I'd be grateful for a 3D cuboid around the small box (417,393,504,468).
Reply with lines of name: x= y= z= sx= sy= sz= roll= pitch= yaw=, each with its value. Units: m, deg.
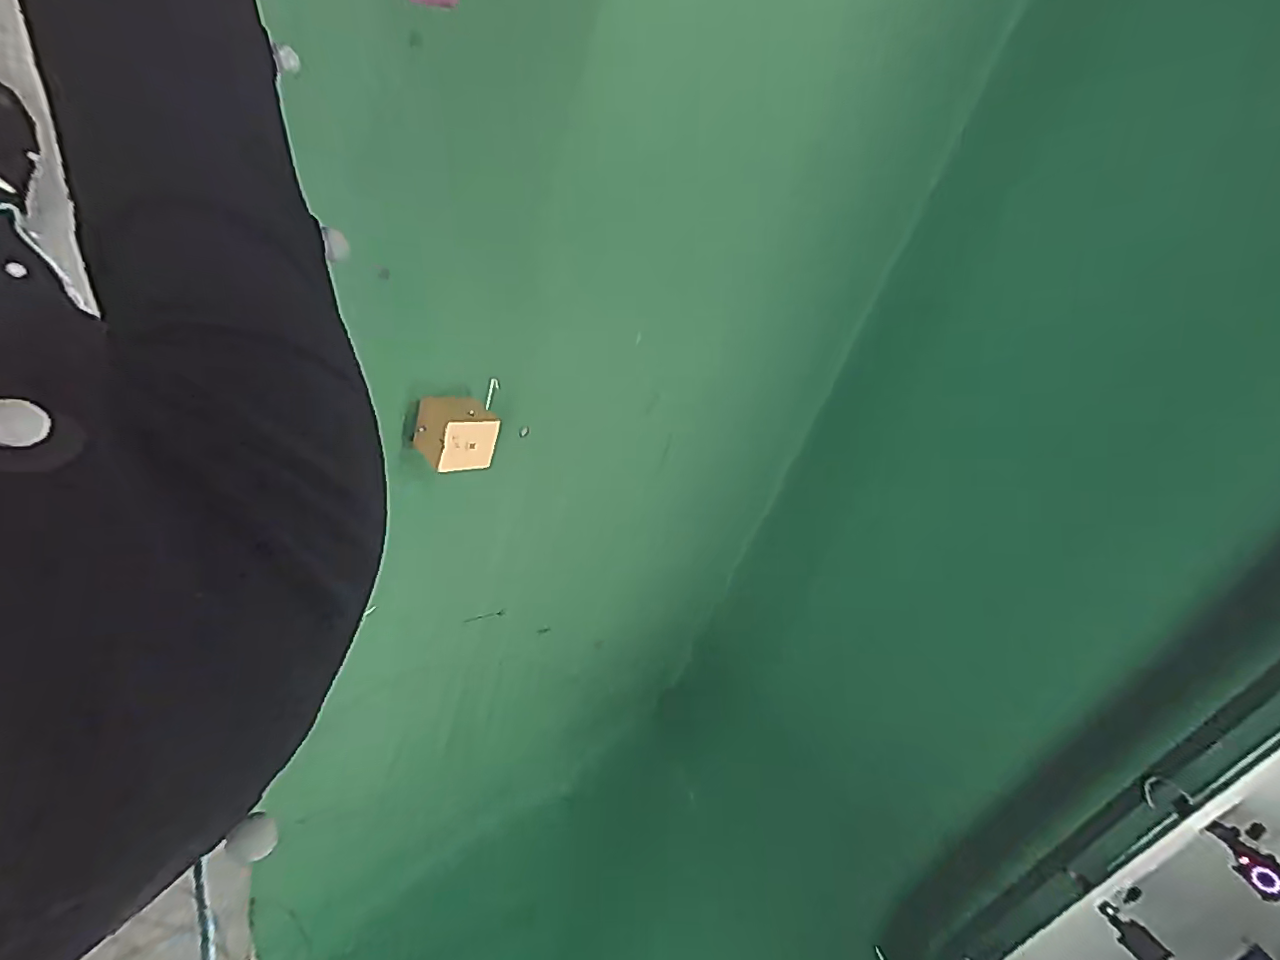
small box: x=-0.547 y=-0.156 z=1.642 sx=0.179 sy=0.176 sz=0.168 roll=-8 pitch=128 yaw=-47
